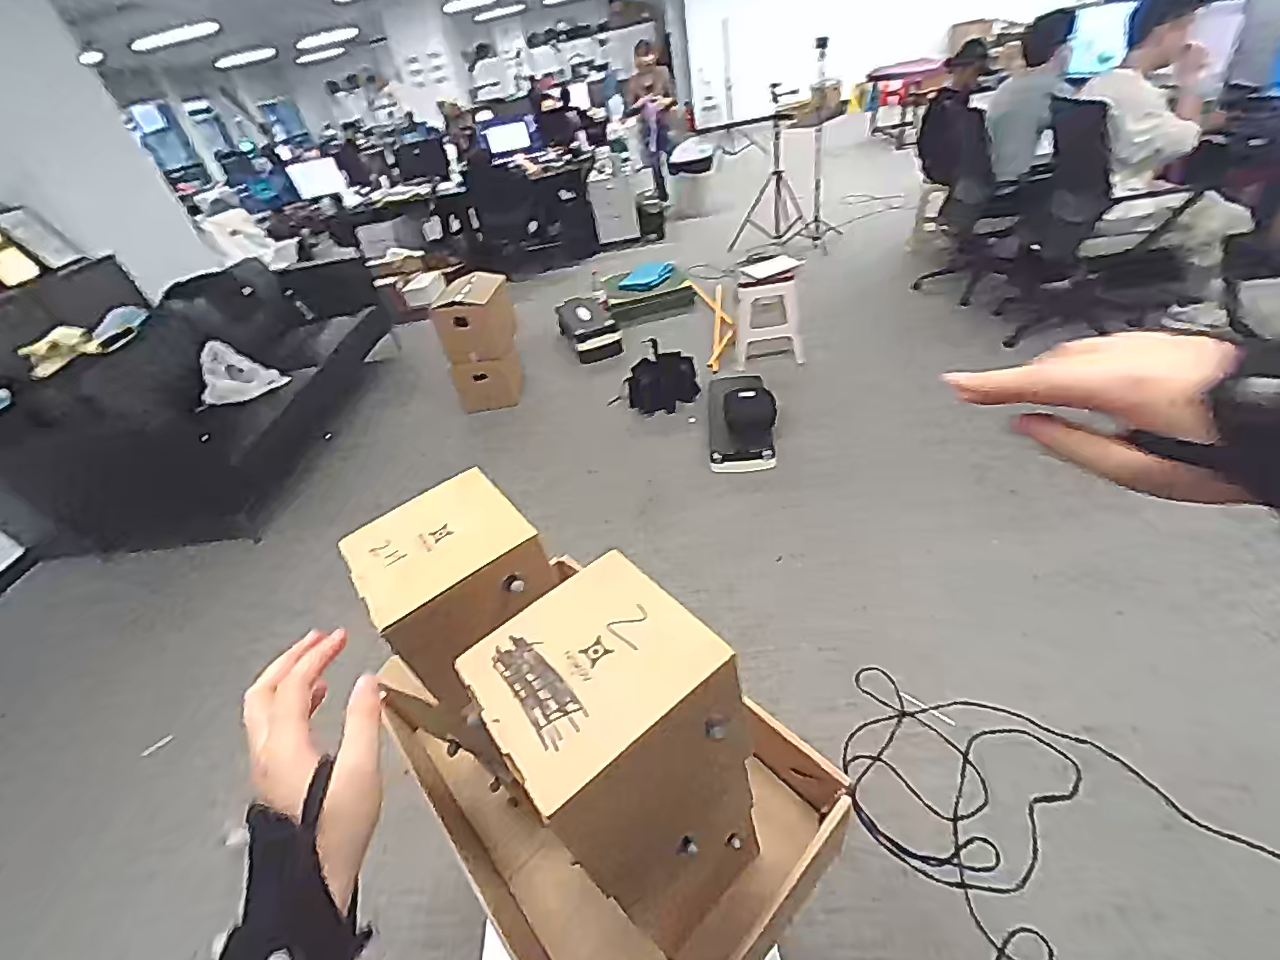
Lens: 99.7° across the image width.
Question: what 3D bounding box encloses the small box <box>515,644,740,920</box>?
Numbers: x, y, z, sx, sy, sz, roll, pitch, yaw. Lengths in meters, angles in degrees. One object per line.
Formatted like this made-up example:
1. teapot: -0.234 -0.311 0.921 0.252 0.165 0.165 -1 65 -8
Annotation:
1. small box: -0.004 0.328 0.601 0.179 0.176 0.168 -36 41 -24

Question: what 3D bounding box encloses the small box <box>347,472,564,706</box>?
1. small box: -0.208 0.126 0.649 0.179 0.176 0.168 -33 43 -22

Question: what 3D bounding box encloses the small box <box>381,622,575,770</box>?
1. small box: -0.206 0.261 0.748 0.168 0.176 0.179 7 45 24
